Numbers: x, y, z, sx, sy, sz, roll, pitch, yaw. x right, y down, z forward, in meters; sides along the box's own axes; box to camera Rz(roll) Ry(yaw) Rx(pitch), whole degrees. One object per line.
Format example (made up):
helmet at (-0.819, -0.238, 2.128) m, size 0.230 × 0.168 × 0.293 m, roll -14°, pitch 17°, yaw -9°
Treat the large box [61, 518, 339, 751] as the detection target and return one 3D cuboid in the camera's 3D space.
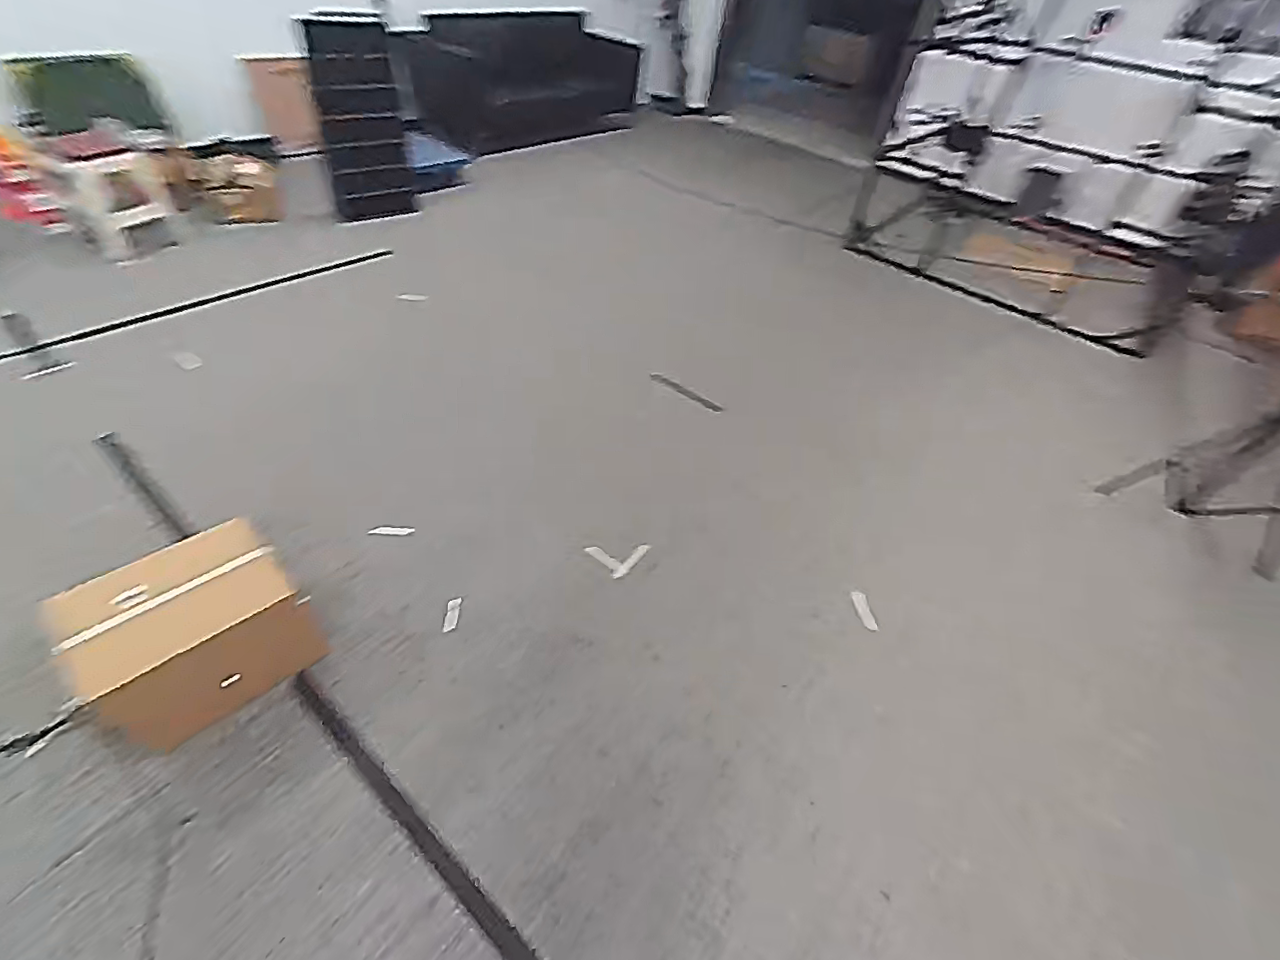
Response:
large box at (-1.058, 0.376, 1.351) m, size 0.320 × 0.320 × 0.408 m, roll 38°, pitch 52°, yaw 25°
